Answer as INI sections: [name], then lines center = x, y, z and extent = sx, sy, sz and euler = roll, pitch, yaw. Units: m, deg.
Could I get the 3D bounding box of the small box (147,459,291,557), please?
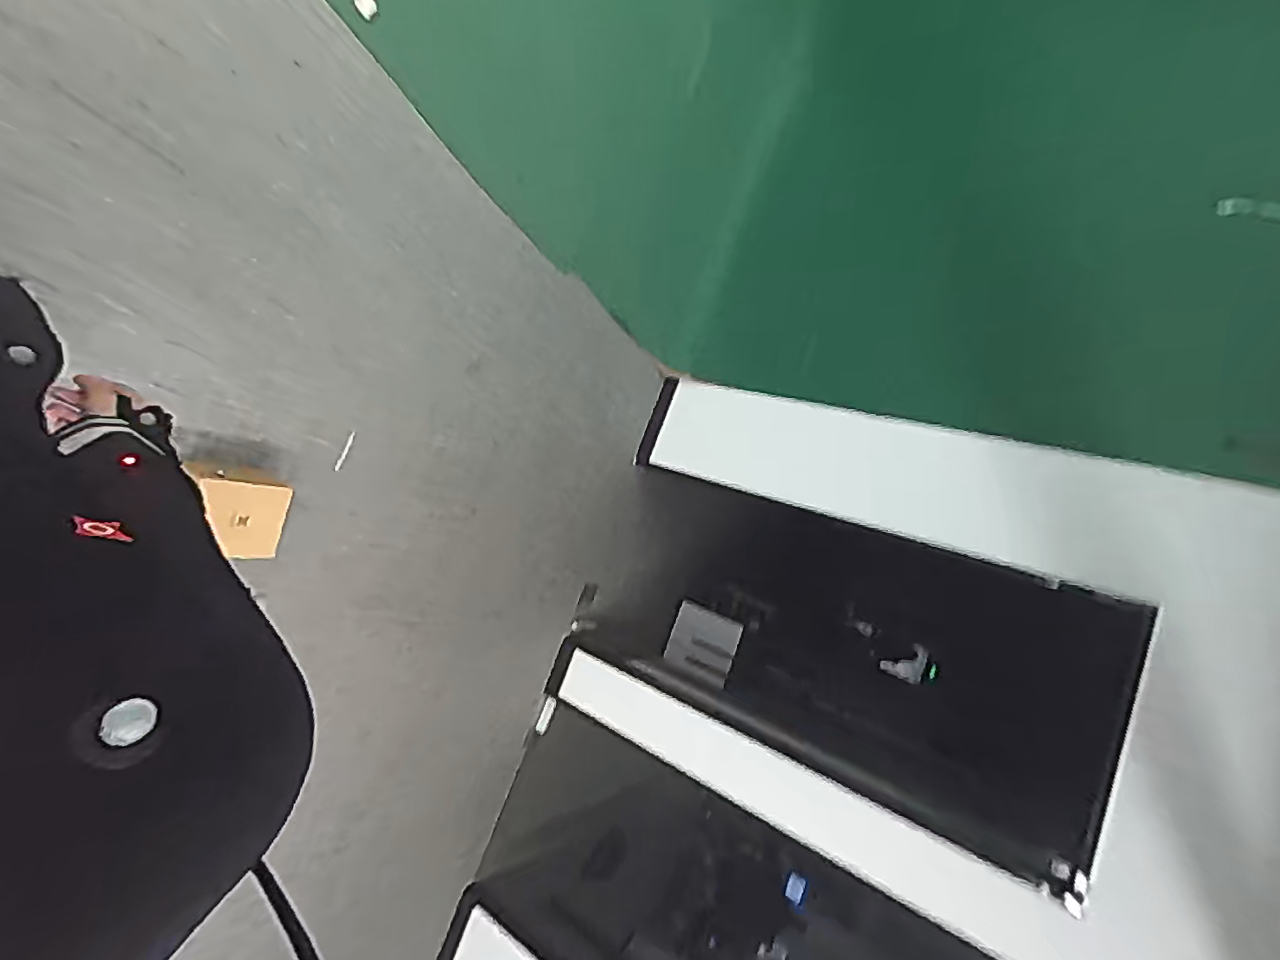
[small box]
center = -0.907, 0.061, 1.168
extent = 0.179, 0.176, 0.168
euler = 15, 92, -60
